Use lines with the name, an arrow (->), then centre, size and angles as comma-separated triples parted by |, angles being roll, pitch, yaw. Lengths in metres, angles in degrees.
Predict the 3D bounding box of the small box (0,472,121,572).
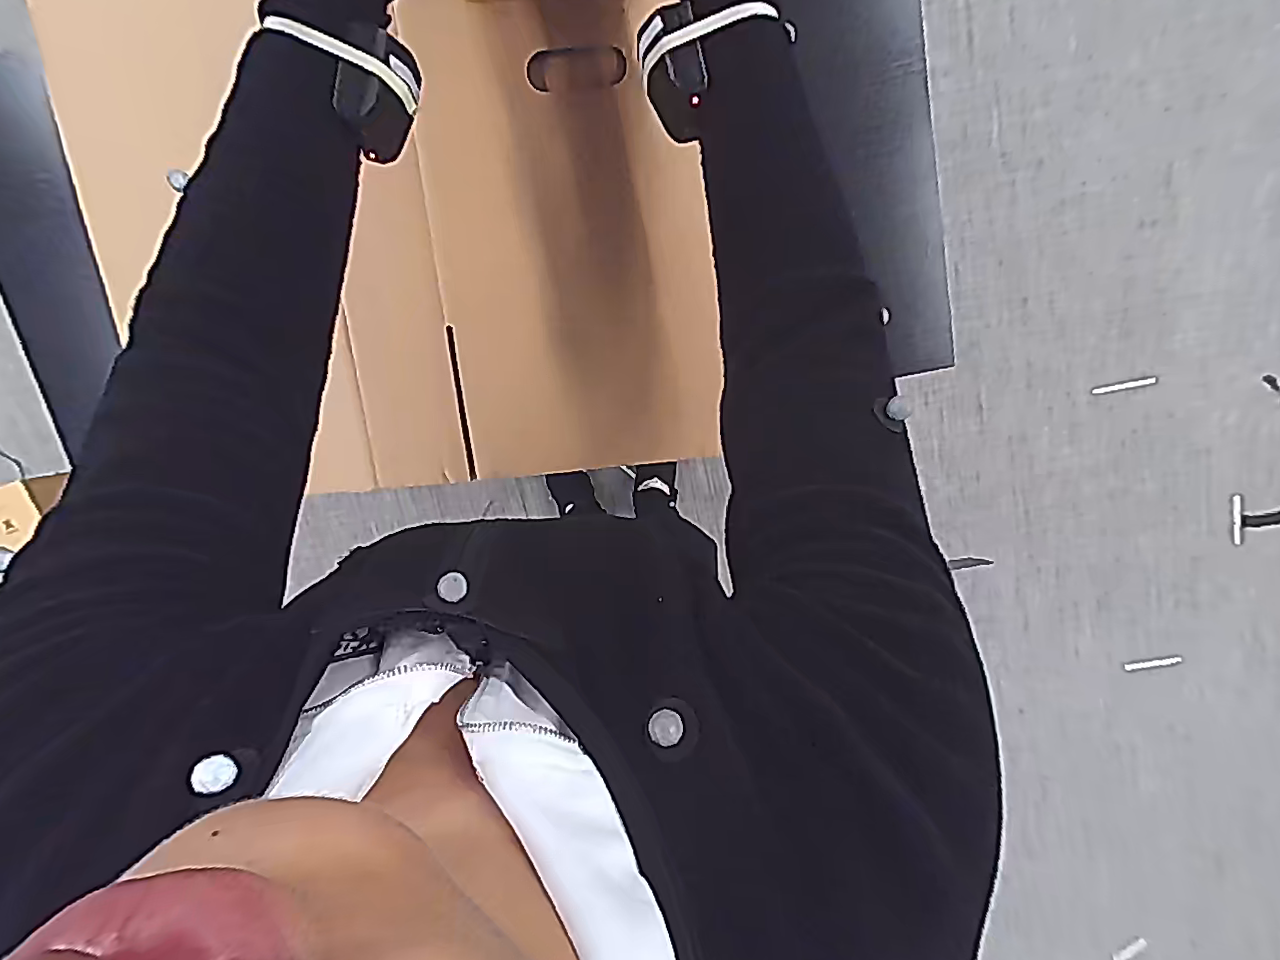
small box -> -1.424, 0.094, 1.300 | 0.168, 0.176, 0.179 | -18, 99, 5
